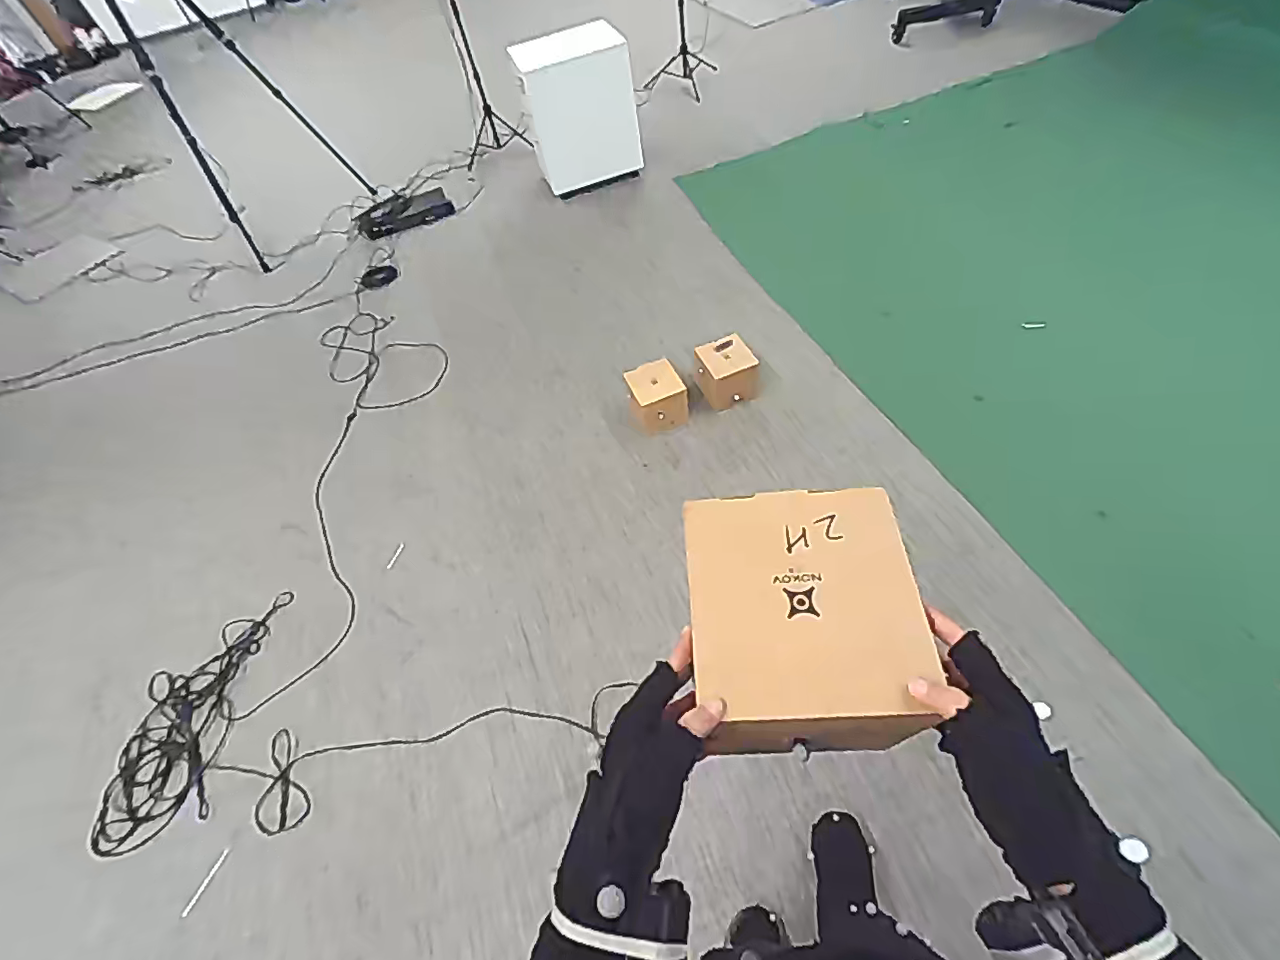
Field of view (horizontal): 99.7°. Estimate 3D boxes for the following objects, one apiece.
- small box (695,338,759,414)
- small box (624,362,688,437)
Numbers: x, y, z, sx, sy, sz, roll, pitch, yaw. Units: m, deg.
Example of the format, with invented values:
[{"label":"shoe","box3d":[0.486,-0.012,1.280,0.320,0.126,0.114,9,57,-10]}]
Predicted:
[{"label":"small box","box3d":[0.305,-0.366,1.915,0.168,0.176,0.179,-22,55,-7]},{"label":"small box","box3d":[0.060,-0.273,1.890,0.168,0.176,0.179,-22,54,-7]}]
